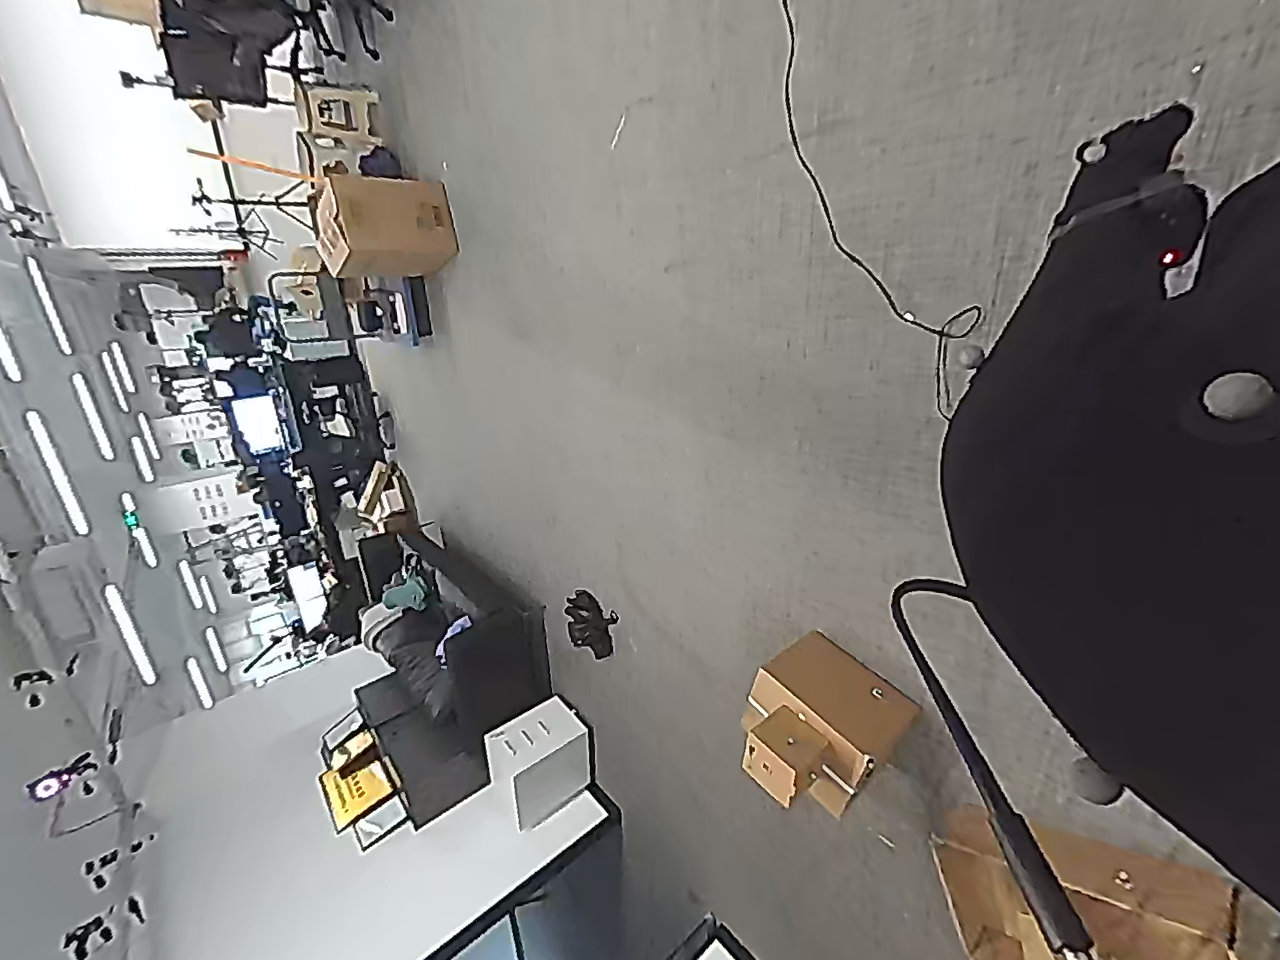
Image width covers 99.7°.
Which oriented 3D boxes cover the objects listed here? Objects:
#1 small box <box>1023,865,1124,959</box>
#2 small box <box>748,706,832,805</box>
[{"bbox_3d":[1.111,1.146,1.384,0.168,0.176,0.179,-3,105,52],"label":"small box"},{"bbox_3d":[0.457,0.829,1.649,0.179,0.176,0.168,29,126,42],"label":"small box"}]
